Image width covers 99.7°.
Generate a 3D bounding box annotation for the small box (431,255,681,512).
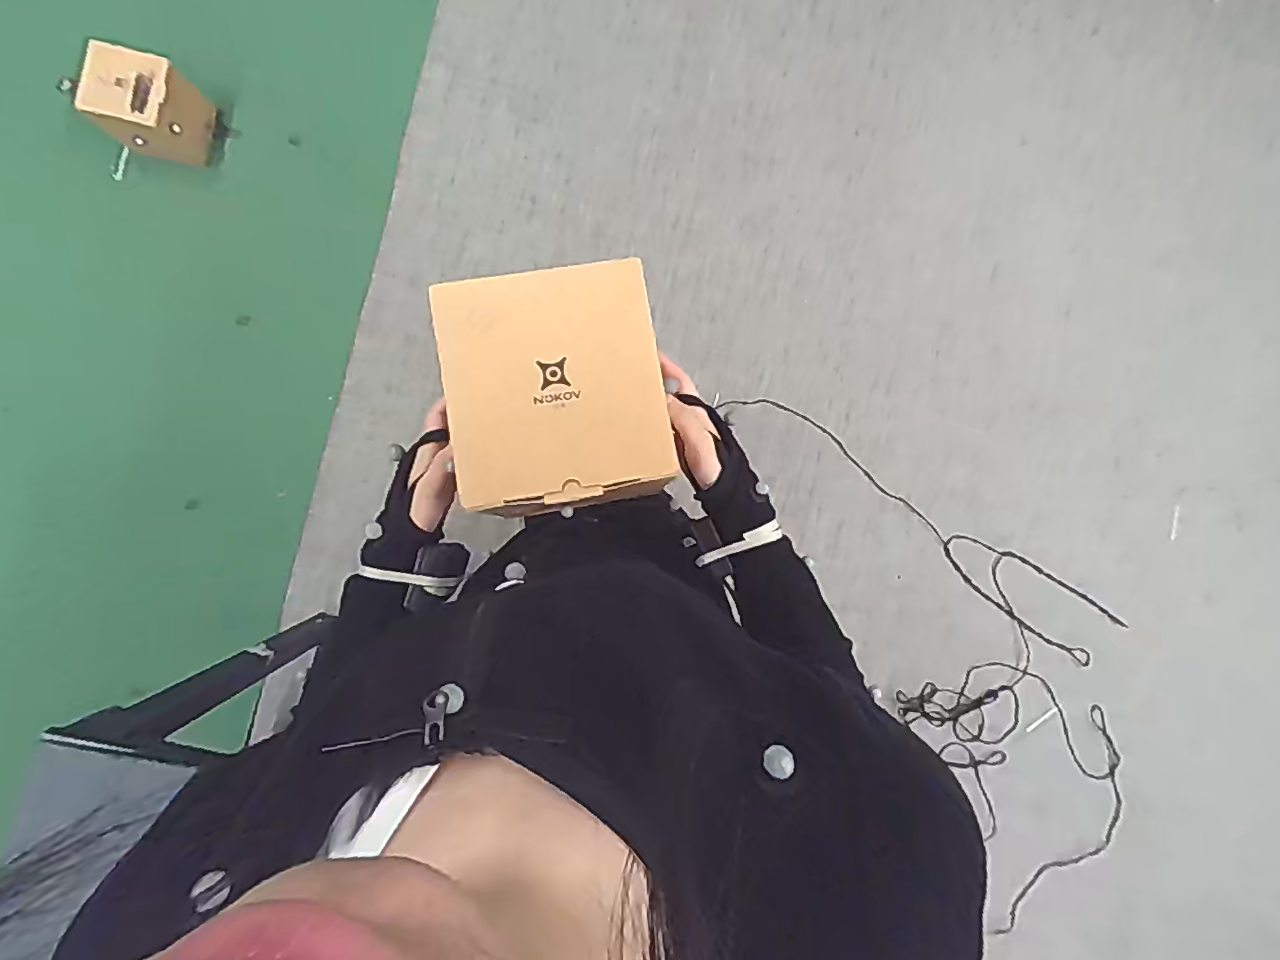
[{"bbox_3d":[-0.070,-0.071,0.485,0.168,0.176,0.179,-10,87,-5],"label":"small box"}]
